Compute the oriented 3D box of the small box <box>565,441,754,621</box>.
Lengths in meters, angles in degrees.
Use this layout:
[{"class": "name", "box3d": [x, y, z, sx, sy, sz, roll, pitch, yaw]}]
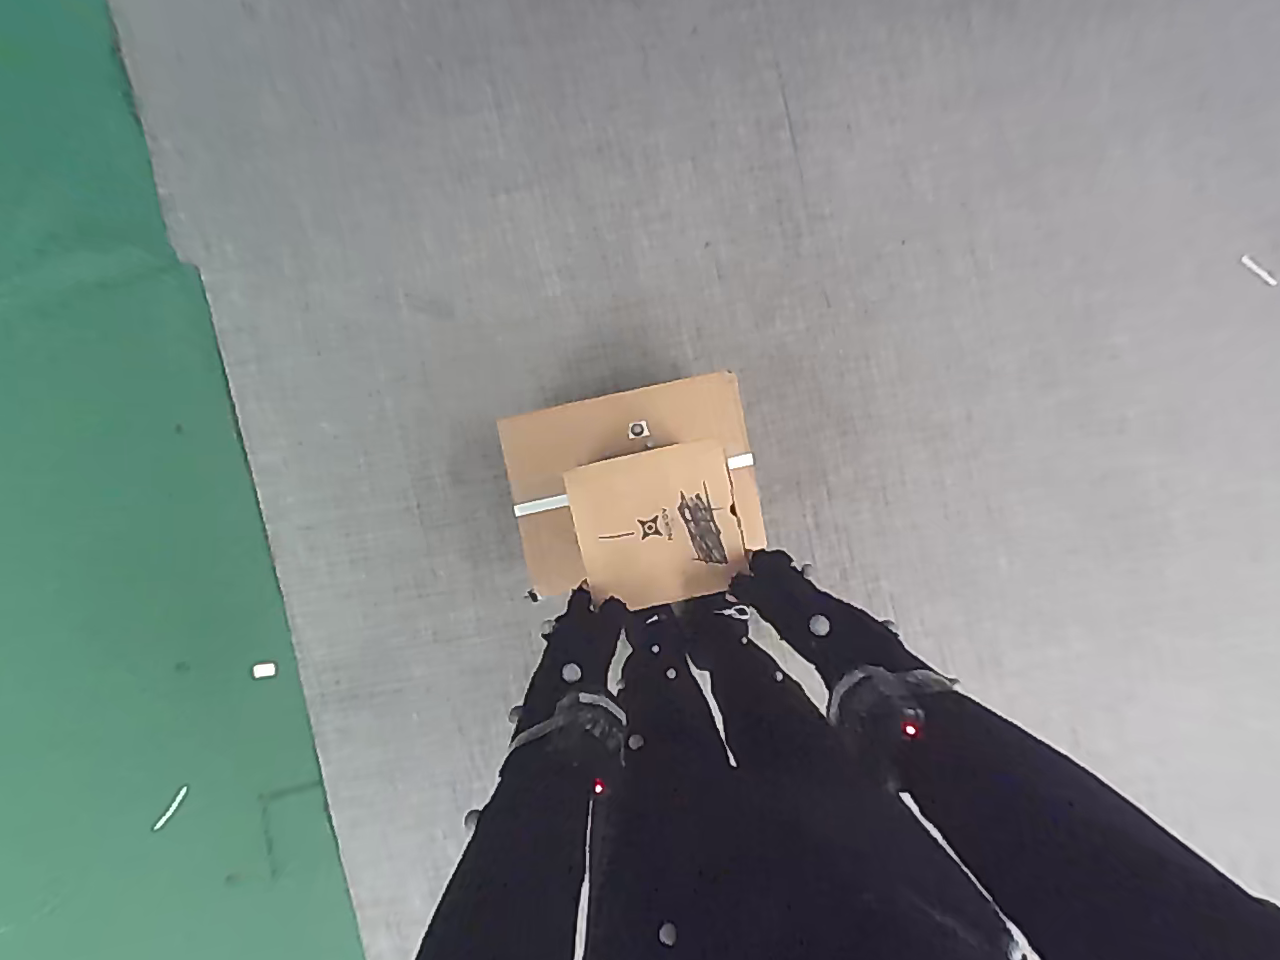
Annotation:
[{"class": "small box", "box3d": [0.022, 0.051, 0.655, 0.179, 0.176, 0.168, -13, 91, 2]}]
